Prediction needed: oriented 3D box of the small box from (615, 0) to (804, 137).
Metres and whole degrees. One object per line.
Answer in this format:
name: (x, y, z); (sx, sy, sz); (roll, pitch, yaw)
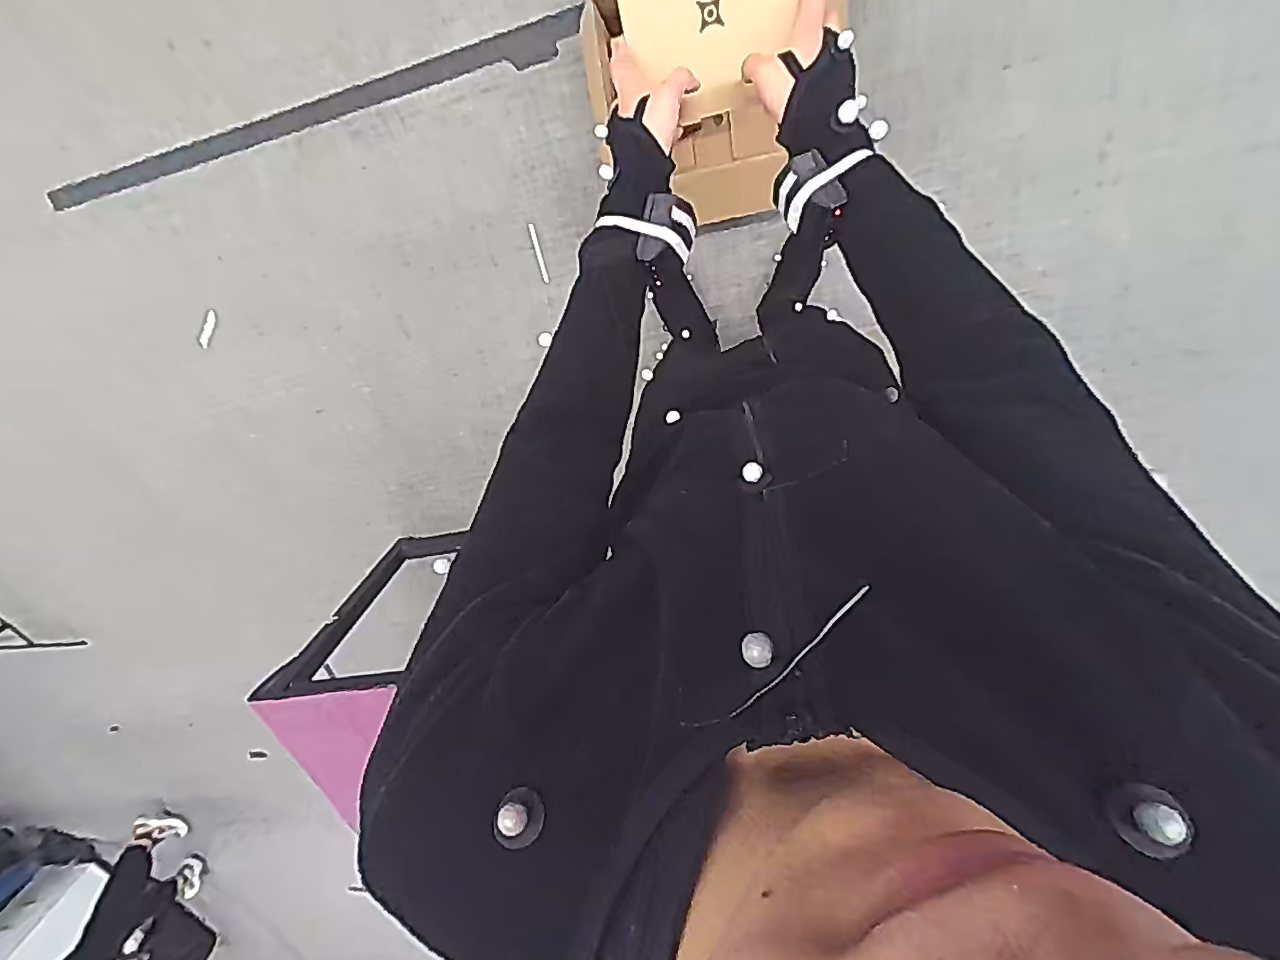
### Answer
small box: (0.070, -0.473, 0.544); (0.168, 0.176, 0.179); (-7, 126, 12)
